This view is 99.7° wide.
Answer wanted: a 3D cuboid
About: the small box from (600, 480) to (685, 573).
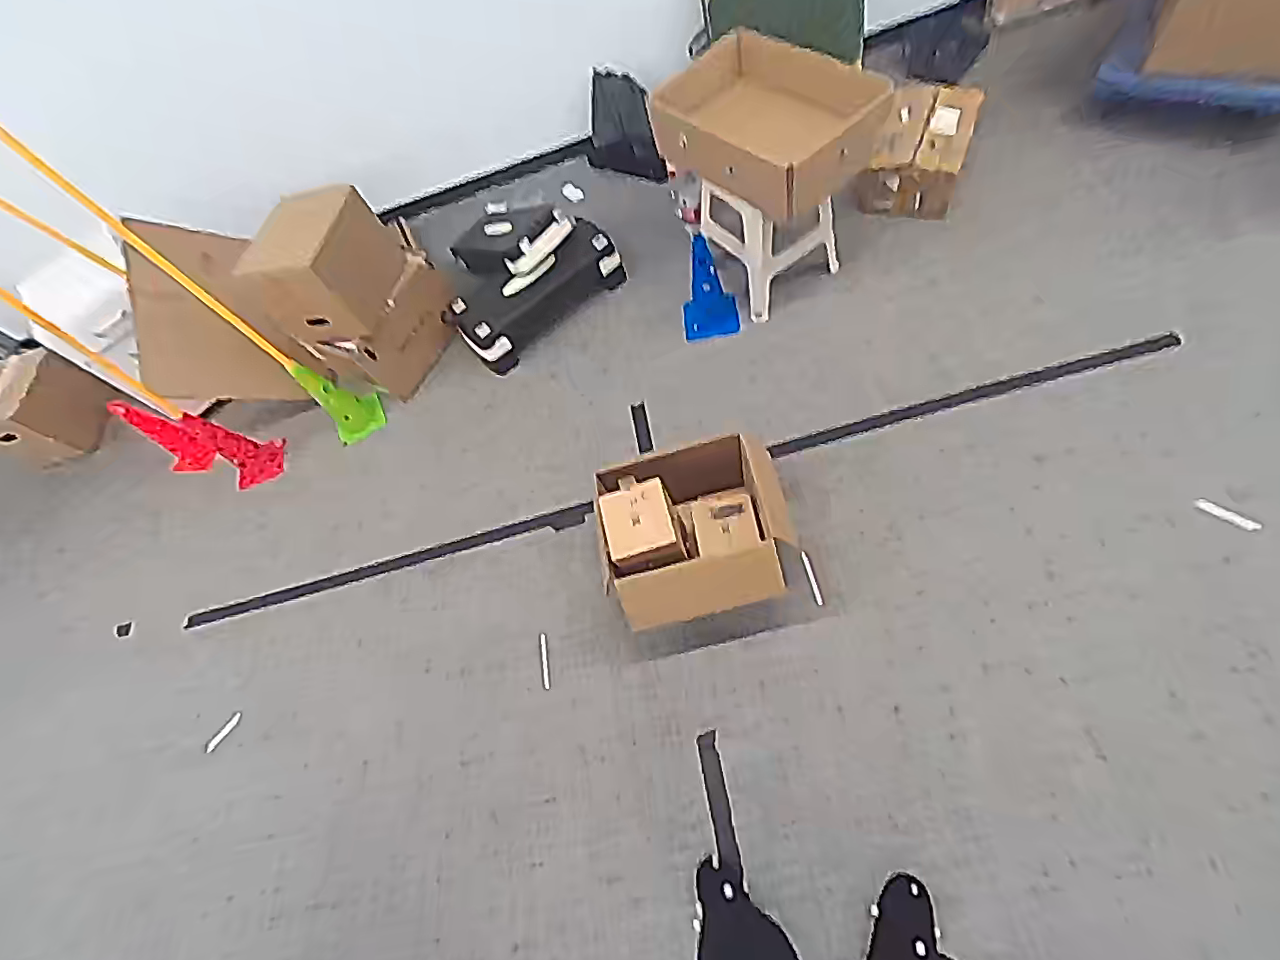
[{"bbox_3d":[0.010,0.130,1.393,0.168,0.176,0.179,-16,61,6],"label":"small box"}]
